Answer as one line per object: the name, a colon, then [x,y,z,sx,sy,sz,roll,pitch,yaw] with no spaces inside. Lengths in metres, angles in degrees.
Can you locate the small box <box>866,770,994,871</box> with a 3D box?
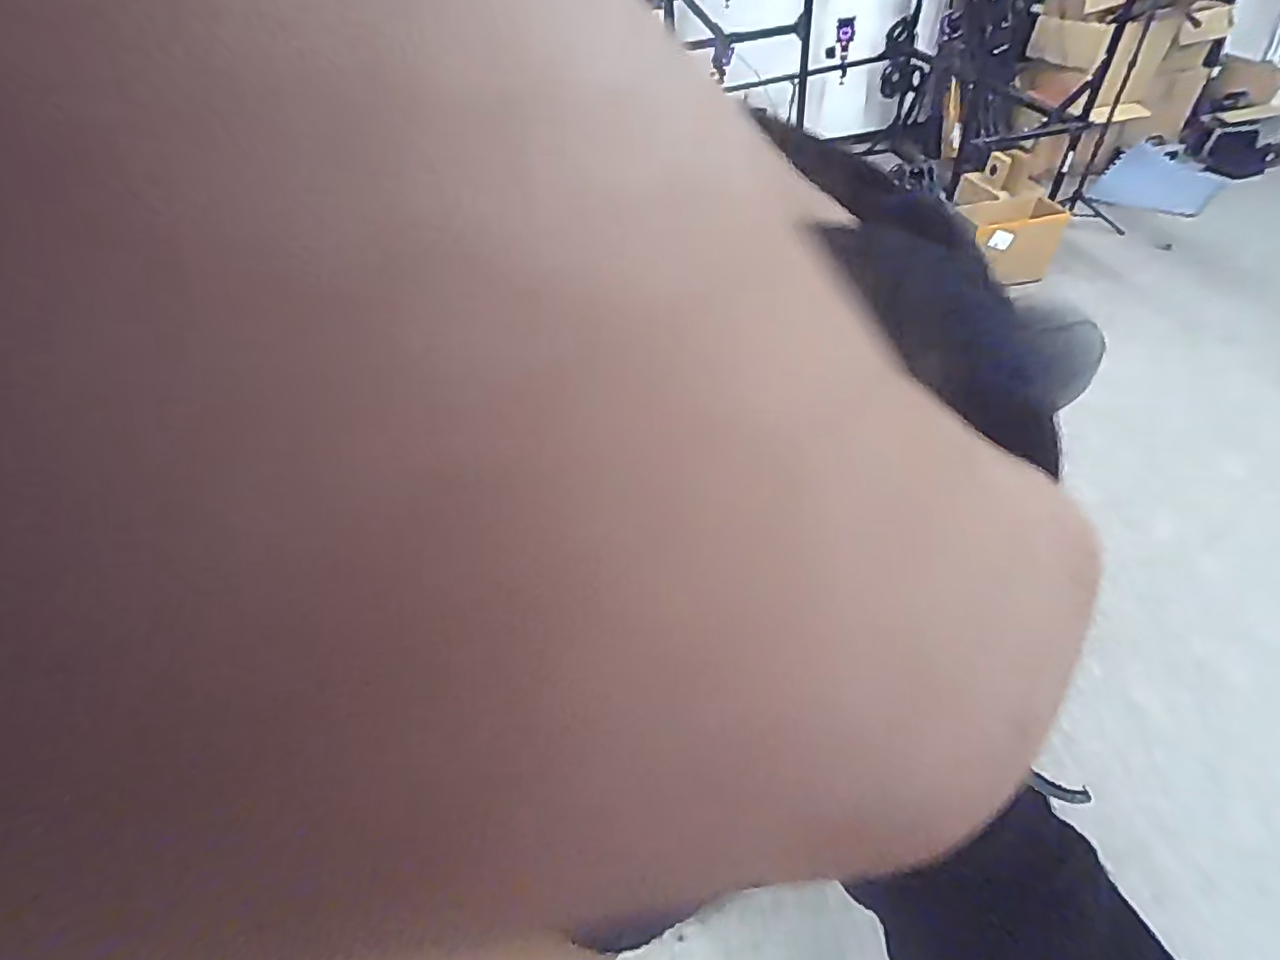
small box: [0.600,0.710,1.145,0.168,0.176,0.179,-7,45,3]
